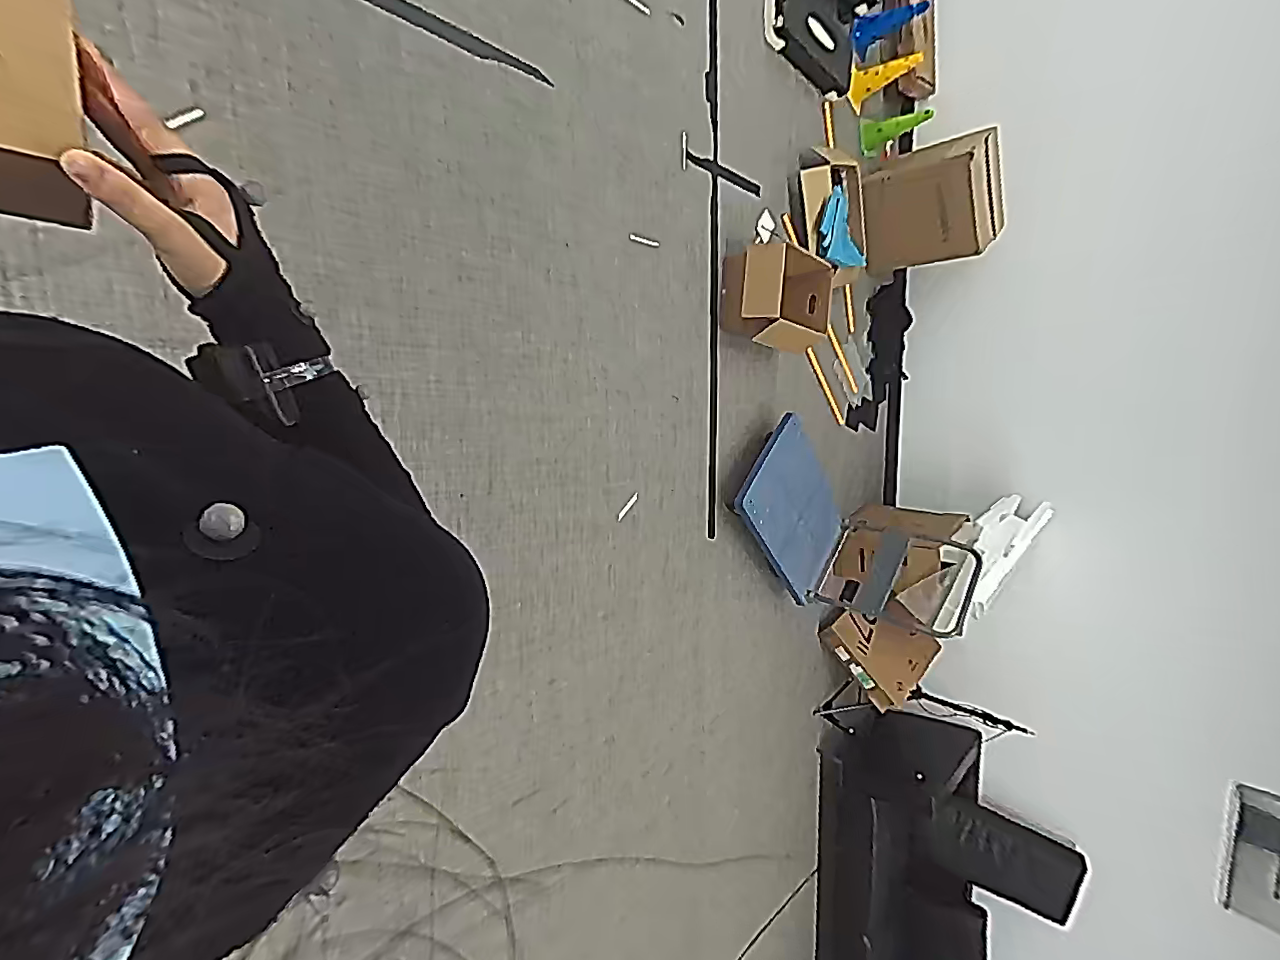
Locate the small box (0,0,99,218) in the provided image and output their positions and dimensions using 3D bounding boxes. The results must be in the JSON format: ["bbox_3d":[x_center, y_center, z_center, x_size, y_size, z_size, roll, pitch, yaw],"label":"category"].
[{"bbox_3d":[-0.405,-0.262,0.284,0.168,0.176,0.179,-4,99,-45],"label":"small box"}]
